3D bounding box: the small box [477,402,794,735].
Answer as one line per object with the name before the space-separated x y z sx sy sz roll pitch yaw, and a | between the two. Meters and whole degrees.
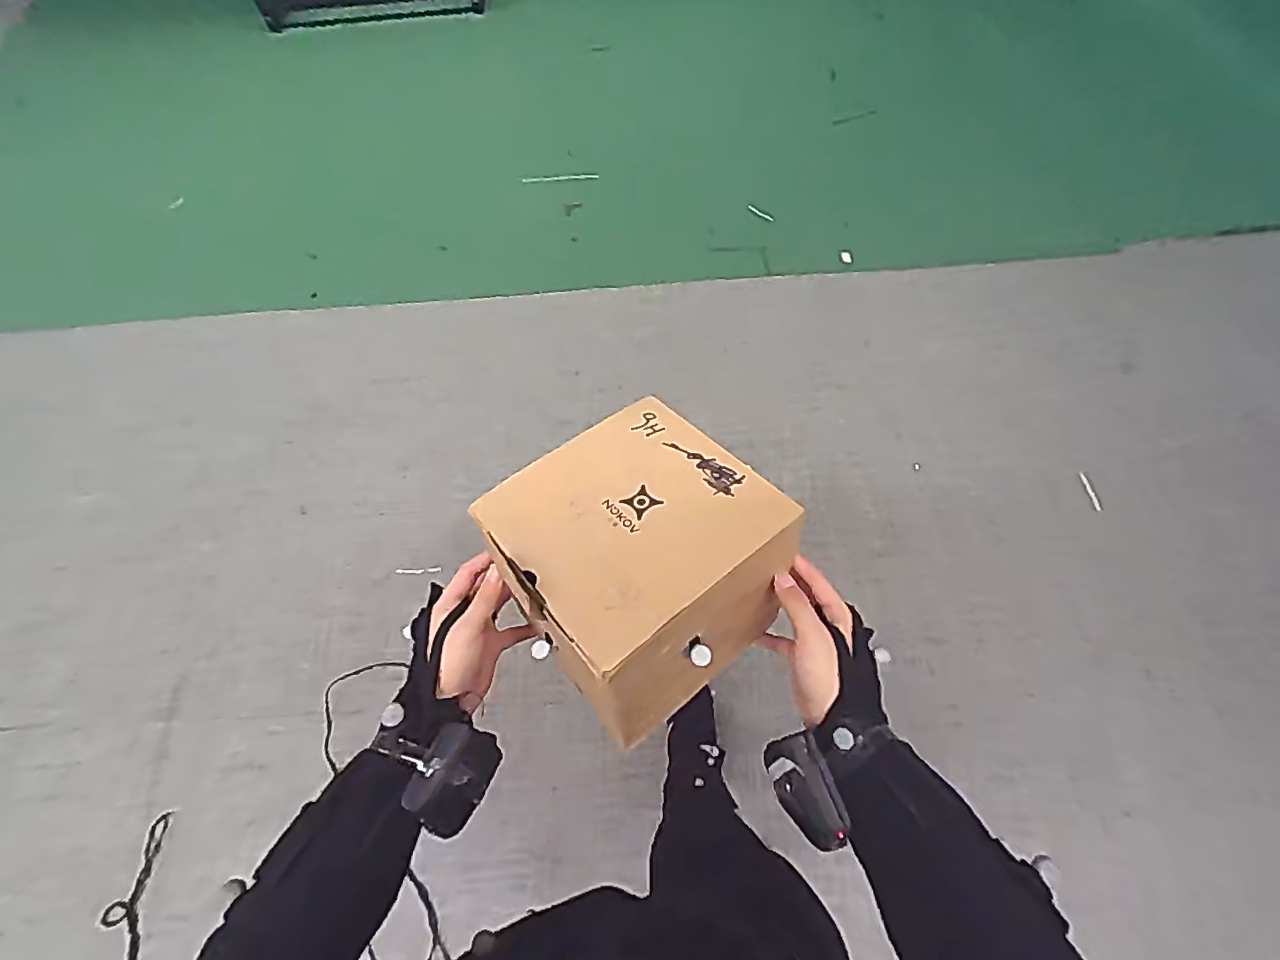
small box | 0.001 0.074 0.448 0.179 0.176 0.168 -34 55 -22
